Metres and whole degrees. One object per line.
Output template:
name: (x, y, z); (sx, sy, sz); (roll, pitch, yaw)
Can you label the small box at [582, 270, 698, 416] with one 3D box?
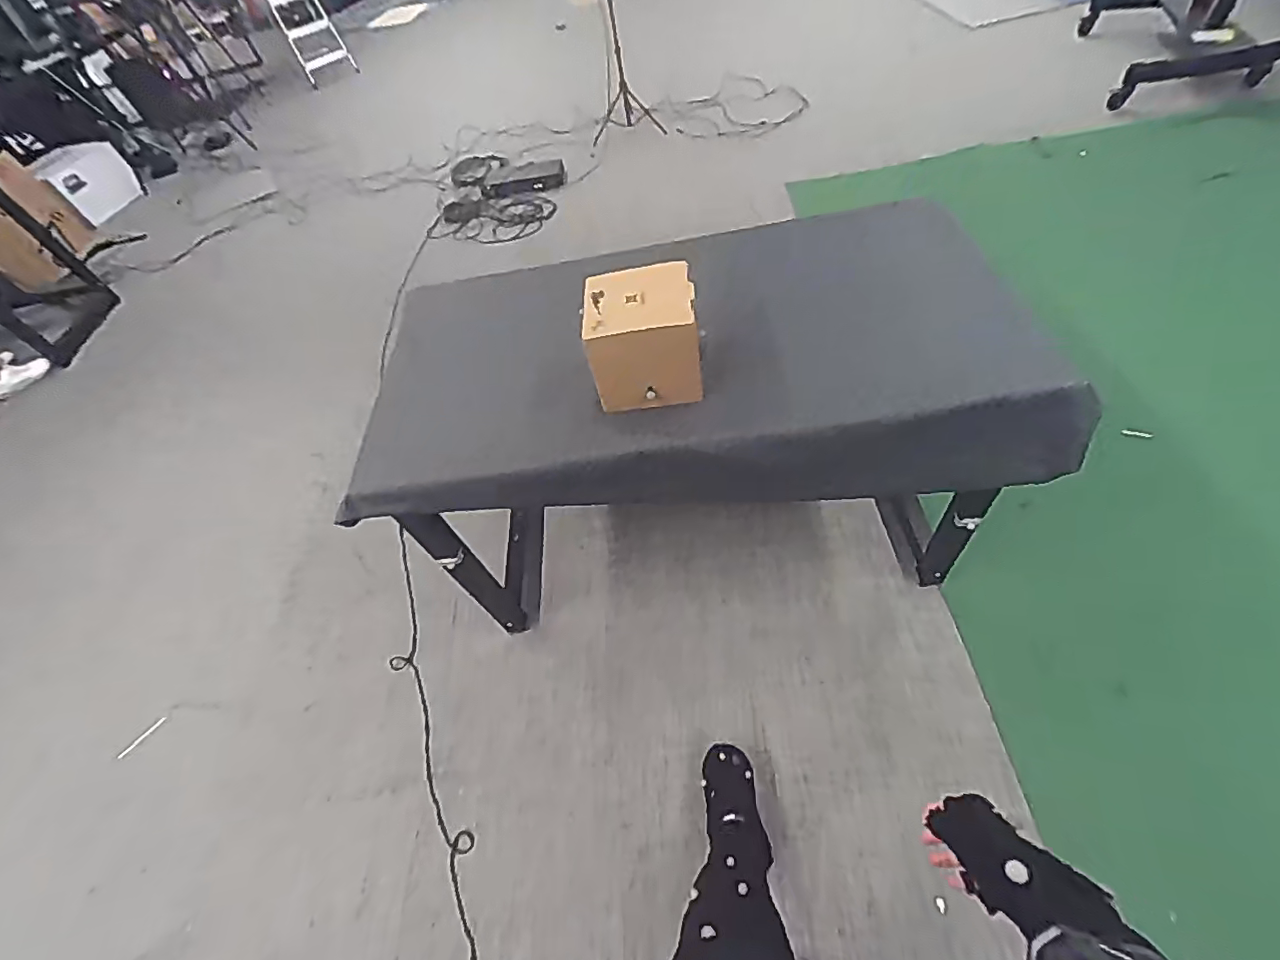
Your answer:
small box: (0.007, -0.230, 0.930); (0.179, 0.176, 0.168); (-6, 52, 6)
